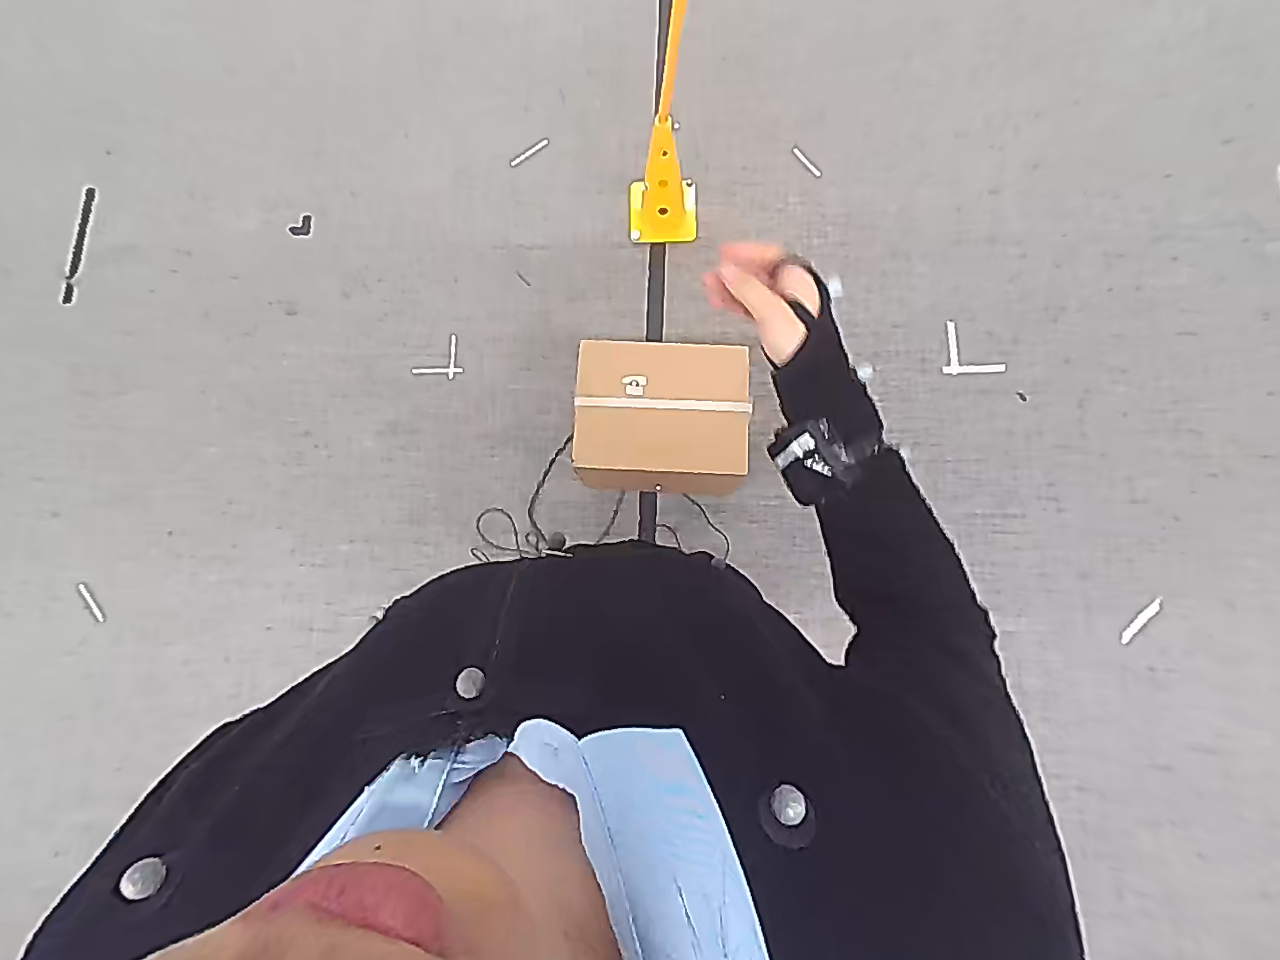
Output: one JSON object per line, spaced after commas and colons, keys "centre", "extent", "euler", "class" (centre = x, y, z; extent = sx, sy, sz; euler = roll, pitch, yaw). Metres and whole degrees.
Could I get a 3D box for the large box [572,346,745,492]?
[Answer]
{"centre": [0.050, -0.143, 1.412], "extent": [0.408, 0.320, 0.320], "euler": [2, 79, 2], "class": "large box"}
